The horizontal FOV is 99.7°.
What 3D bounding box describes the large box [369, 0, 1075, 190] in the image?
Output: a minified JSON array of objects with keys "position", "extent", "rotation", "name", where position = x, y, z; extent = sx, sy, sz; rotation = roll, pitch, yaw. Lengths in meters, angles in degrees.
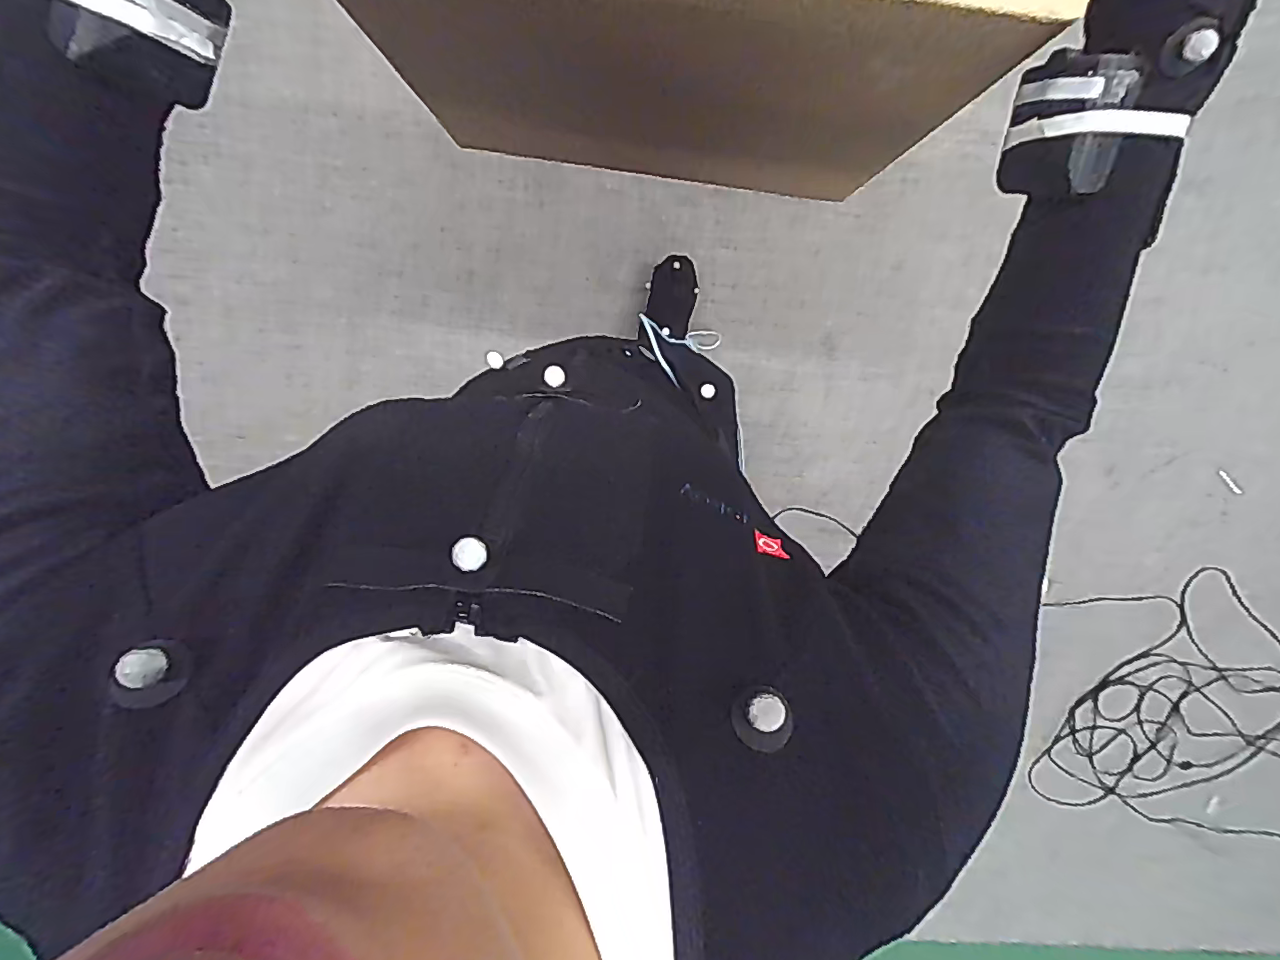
[{"position":[0.038,-0.437,0.384],"extent":[0.408,0.320,0.320],"rotation":[6,103,-3],"name":"large box"}]
